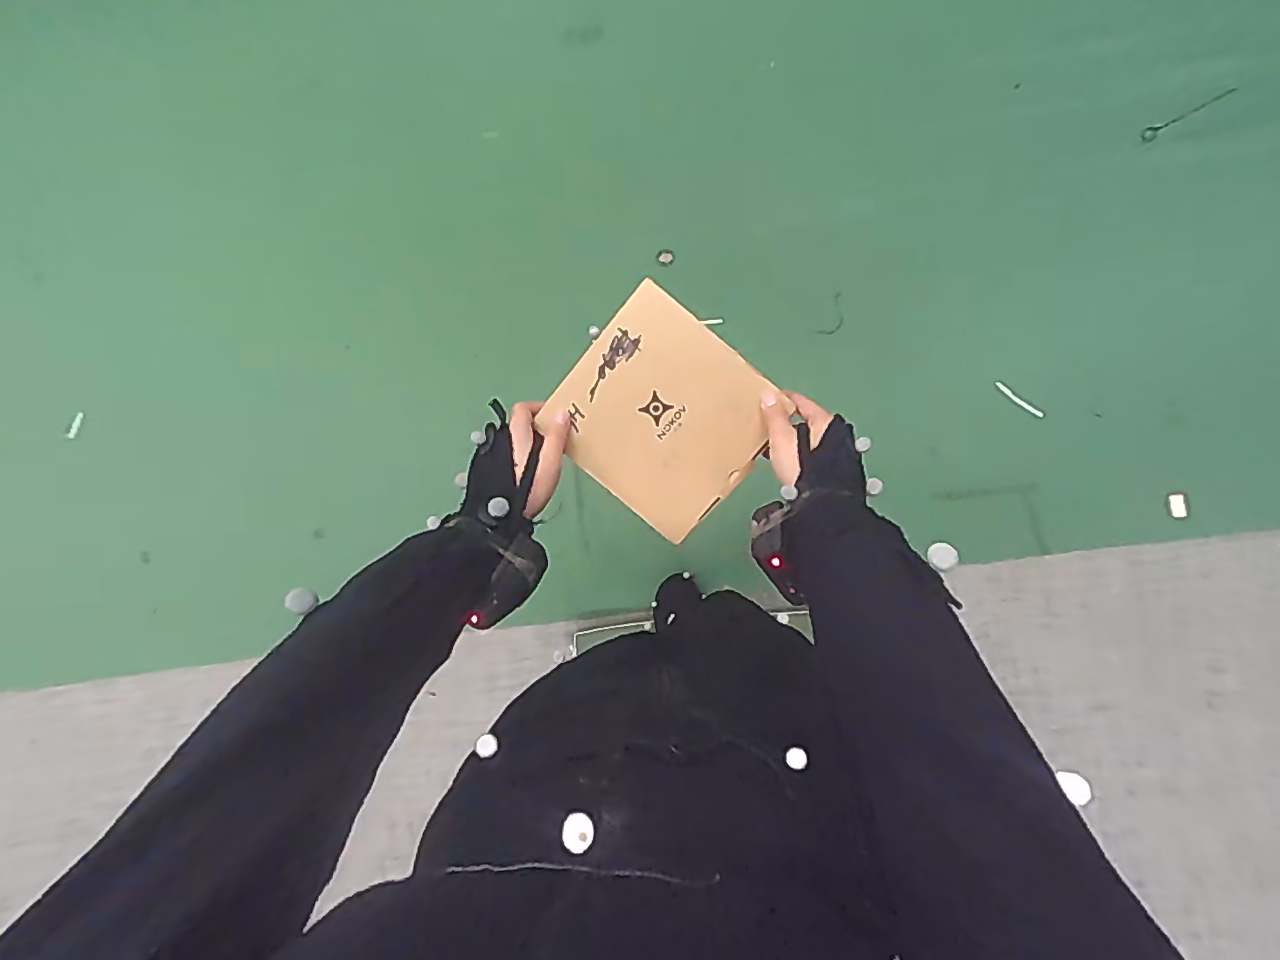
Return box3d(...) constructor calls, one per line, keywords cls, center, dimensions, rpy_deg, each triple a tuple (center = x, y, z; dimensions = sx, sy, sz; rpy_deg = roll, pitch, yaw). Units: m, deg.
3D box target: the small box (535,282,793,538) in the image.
box3d(cls="small box", center=(0.024, -0.071, 0.564), dimensions=(0.179, 0.176, 0.168), rpy_deg=(40, 96, -3))
